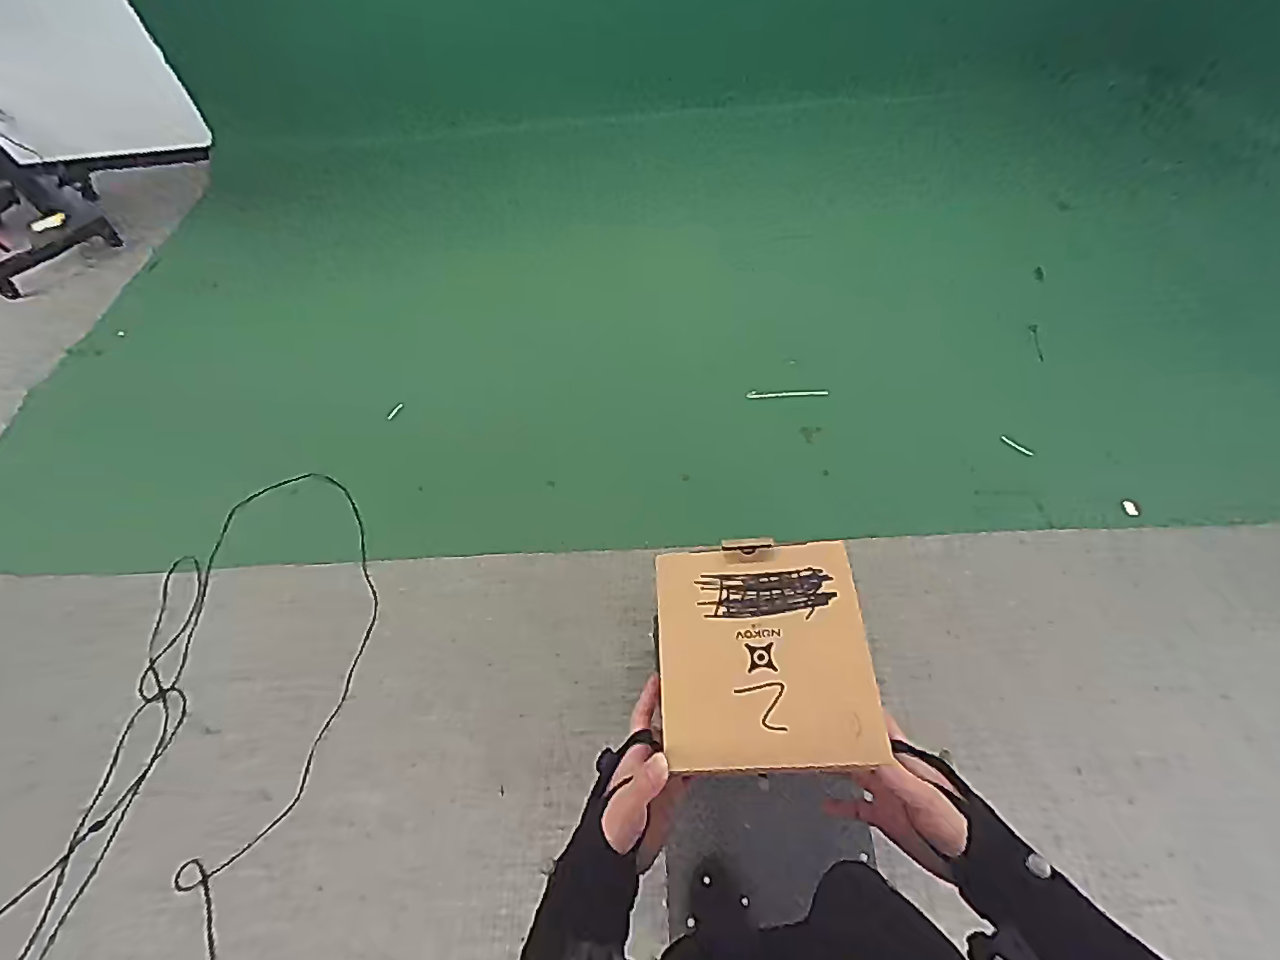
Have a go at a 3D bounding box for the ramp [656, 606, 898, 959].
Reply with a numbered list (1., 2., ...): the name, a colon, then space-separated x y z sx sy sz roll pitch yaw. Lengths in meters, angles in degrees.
1. ramp: 0.307 0.814 1.289 0.509 0.206 0.991 -5 56 1
